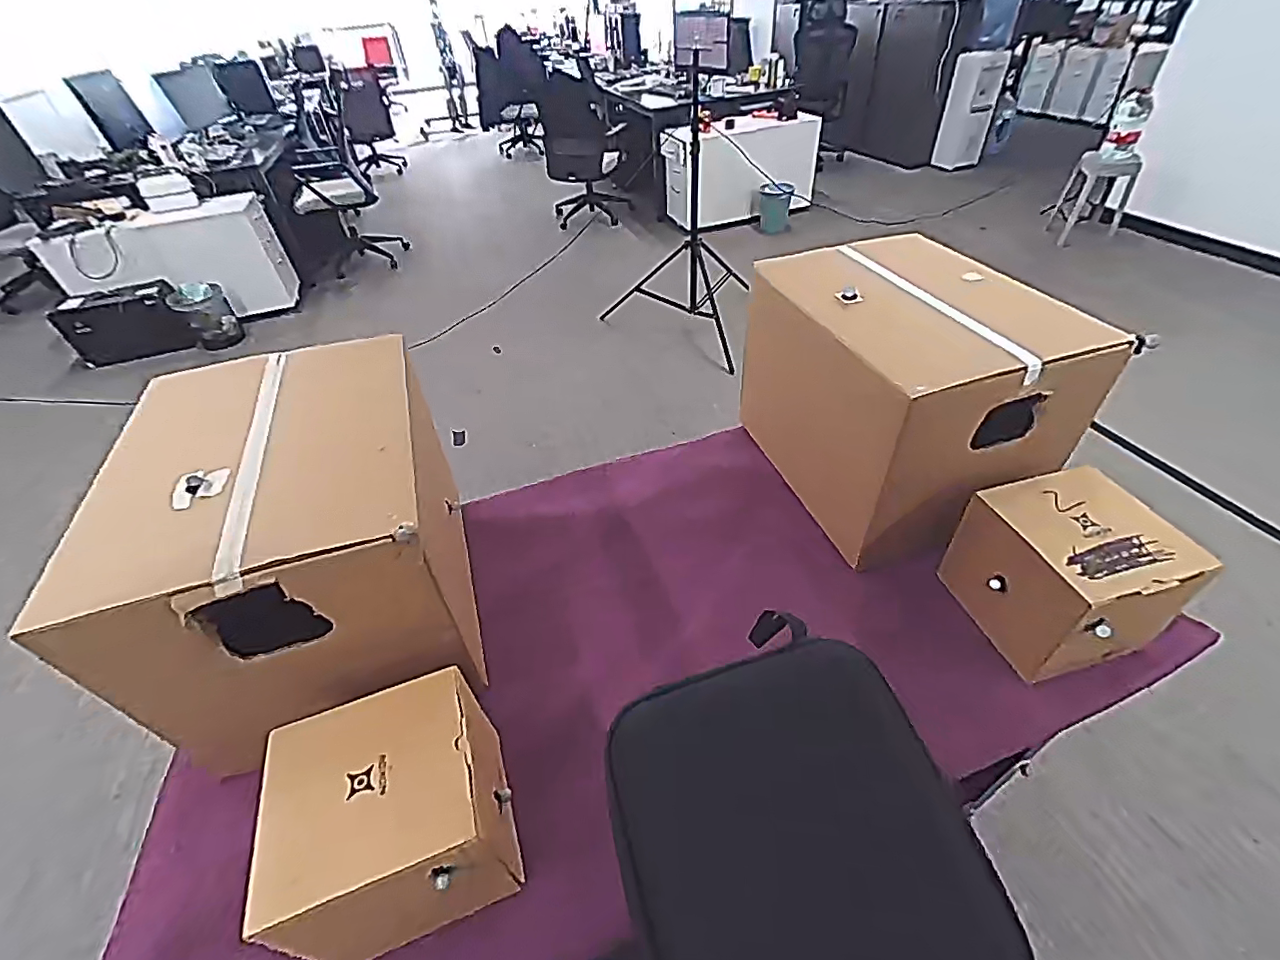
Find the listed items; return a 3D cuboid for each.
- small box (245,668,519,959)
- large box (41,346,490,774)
[{"bbox_3d":[-0.233,0.323,0.525,0.179,0.176,0.168,-17,42,-14],"label":"small box"},{"bbox_3d":[-0.408,0.079,0.704,0.320,0.320,0.408,-16,46,-13],"label":"large box"}]
